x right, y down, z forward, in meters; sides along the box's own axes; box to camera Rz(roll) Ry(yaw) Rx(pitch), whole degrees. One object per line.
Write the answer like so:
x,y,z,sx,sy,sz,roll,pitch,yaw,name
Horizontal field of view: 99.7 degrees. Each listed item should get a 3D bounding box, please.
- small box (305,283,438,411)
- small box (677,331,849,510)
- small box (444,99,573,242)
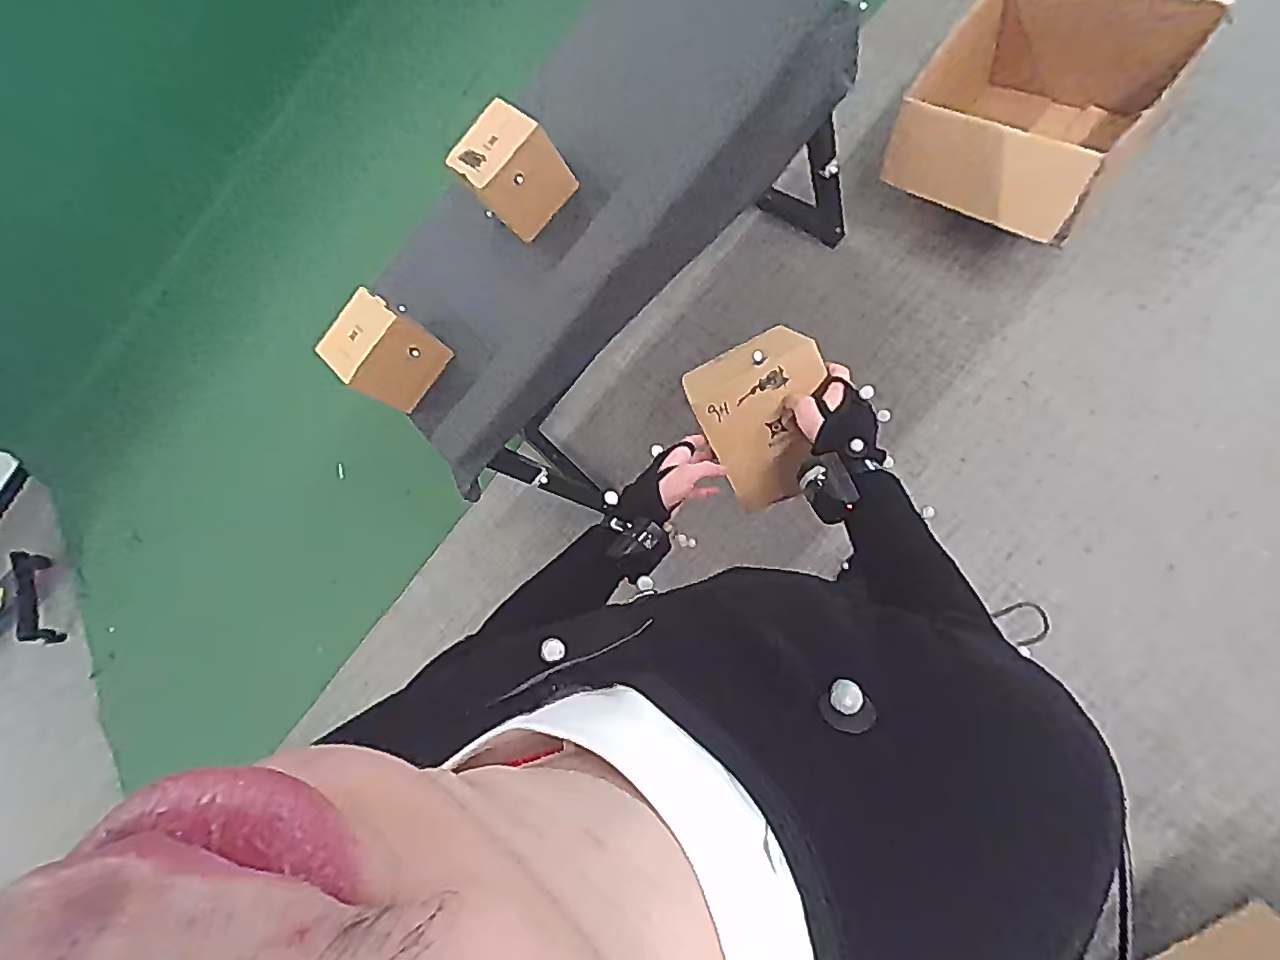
-0.571,-0.282,1.173,0.168,0.176,0.179,38,93,28,small box
0.165,-0.092,0.770,0.168,0.176,0.179,-29,108,11,small box
-0.277,-0.658,1.168,0.179,0.176,0.168,-44,65,7,small box
